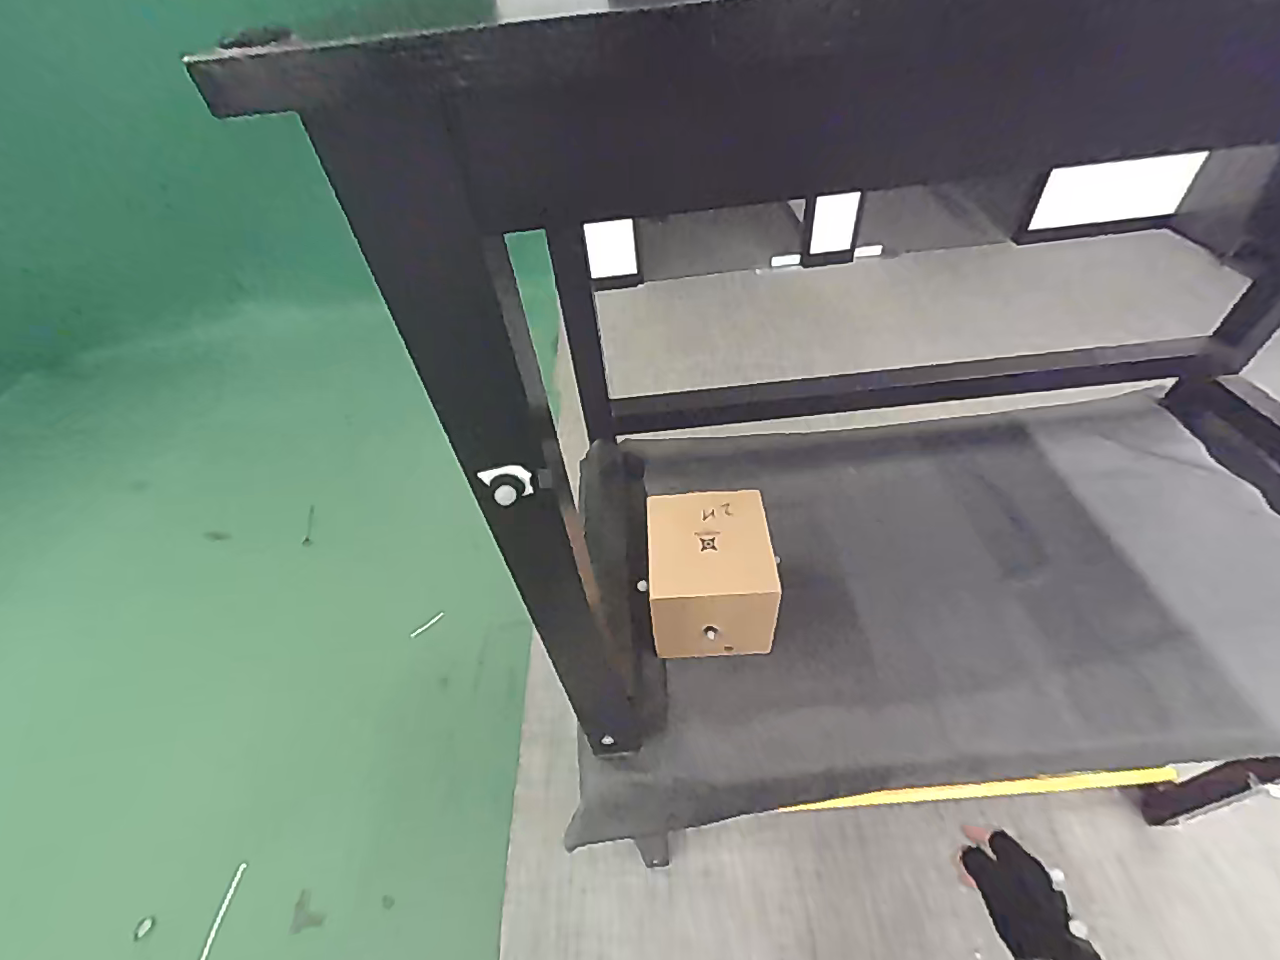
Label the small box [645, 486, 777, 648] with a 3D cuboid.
[{"bbox_3d":[0.096,0.131,0.779,0.168,0.176,0.179,-3,46,3],"label":"small box"}]
